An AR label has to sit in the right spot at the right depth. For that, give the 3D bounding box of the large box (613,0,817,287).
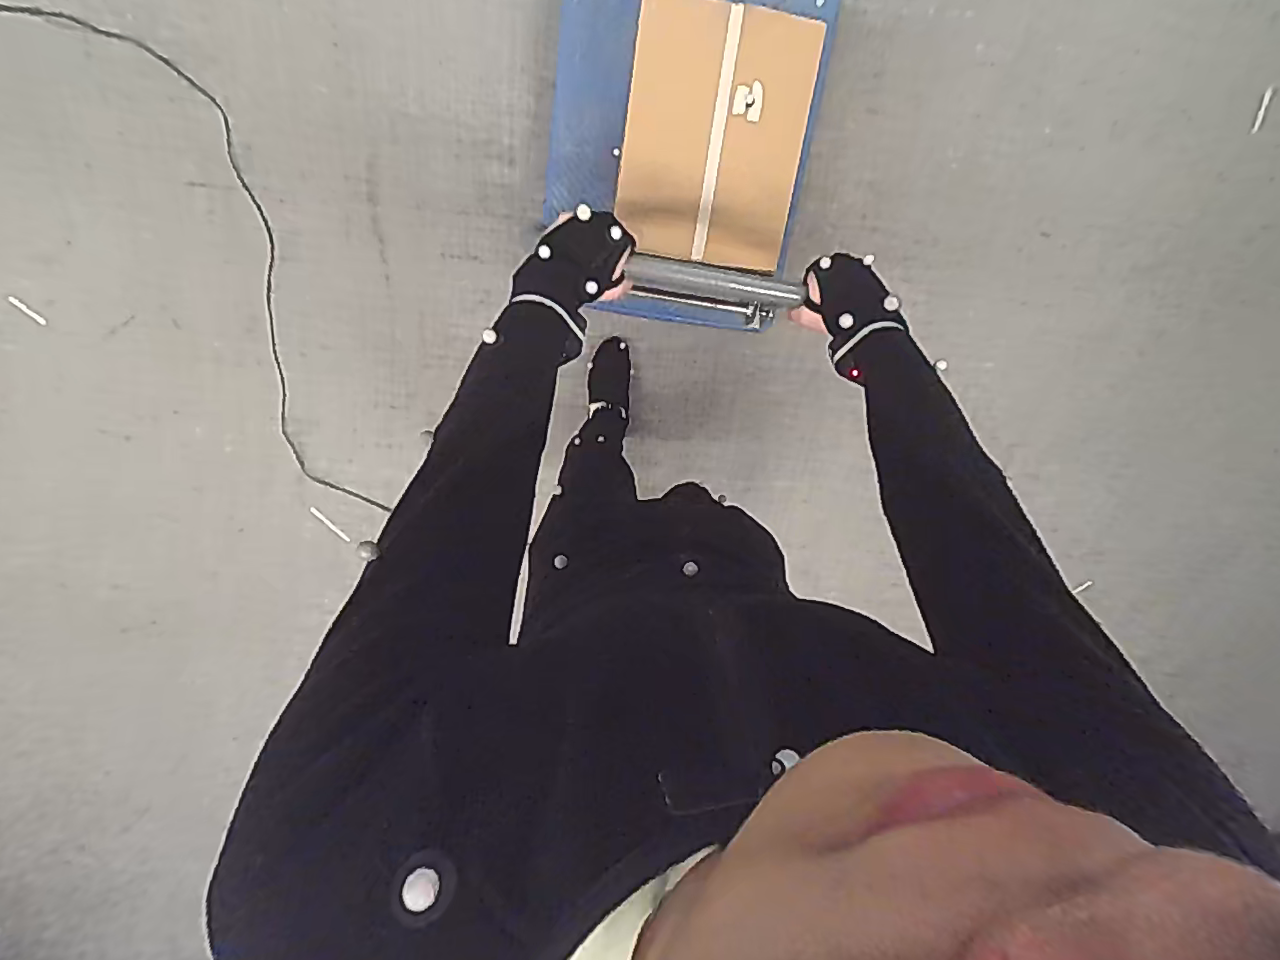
[{"bbox_3d":[0.117,-0.628,1.091,0.320,0.320,0.408,7,104,-7],"label":"large box"}]
